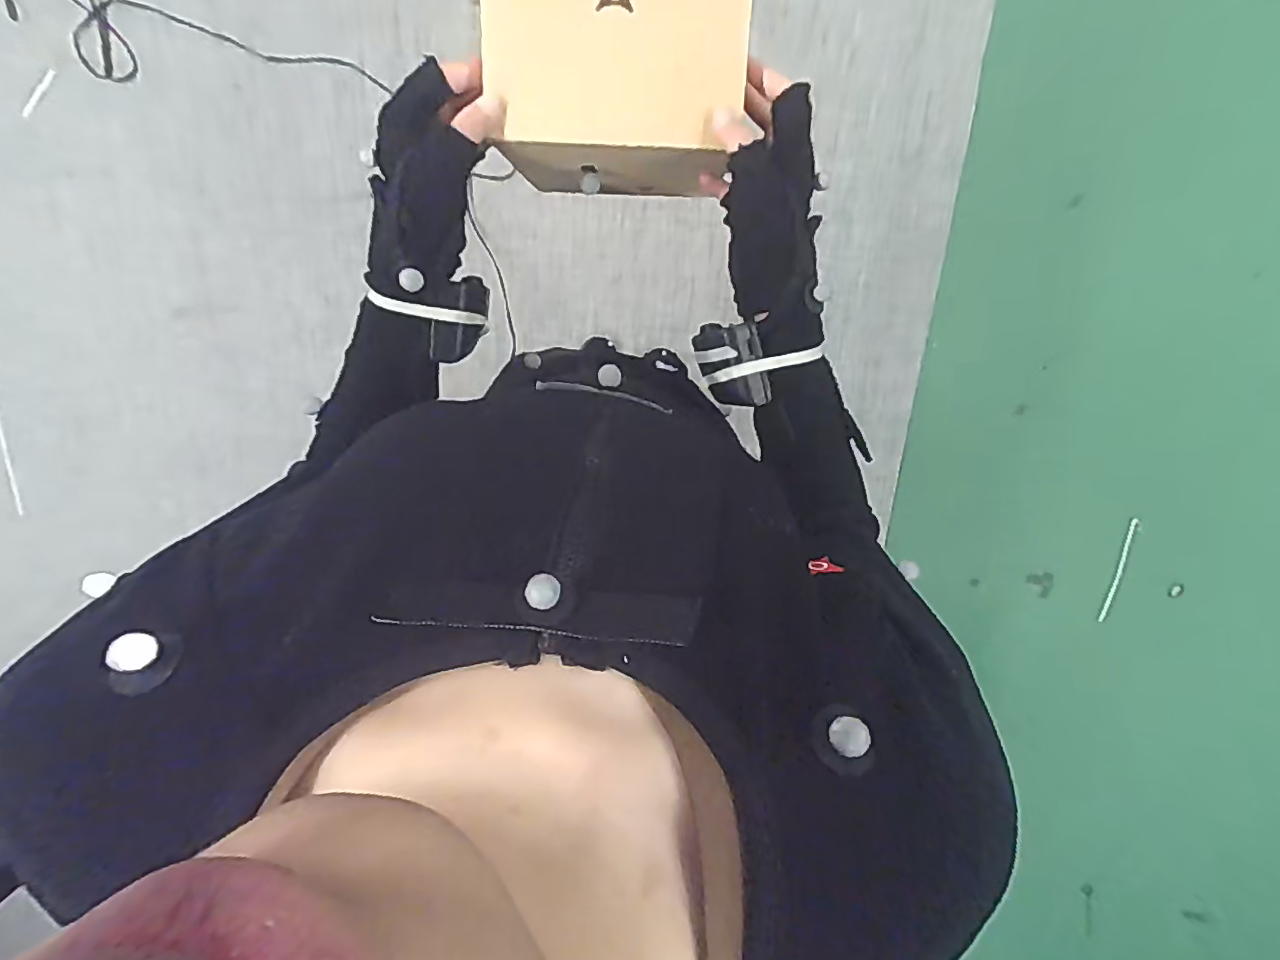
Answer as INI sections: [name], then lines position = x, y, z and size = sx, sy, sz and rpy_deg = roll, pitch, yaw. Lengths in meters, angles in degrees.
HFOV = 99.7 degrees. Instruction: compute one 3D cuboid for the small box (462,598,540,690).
[small box]
position = -0.363, 0.427, 1.427
size = 0.168, 0.176, 0.179
rpy_deg = 3, 104, 1
